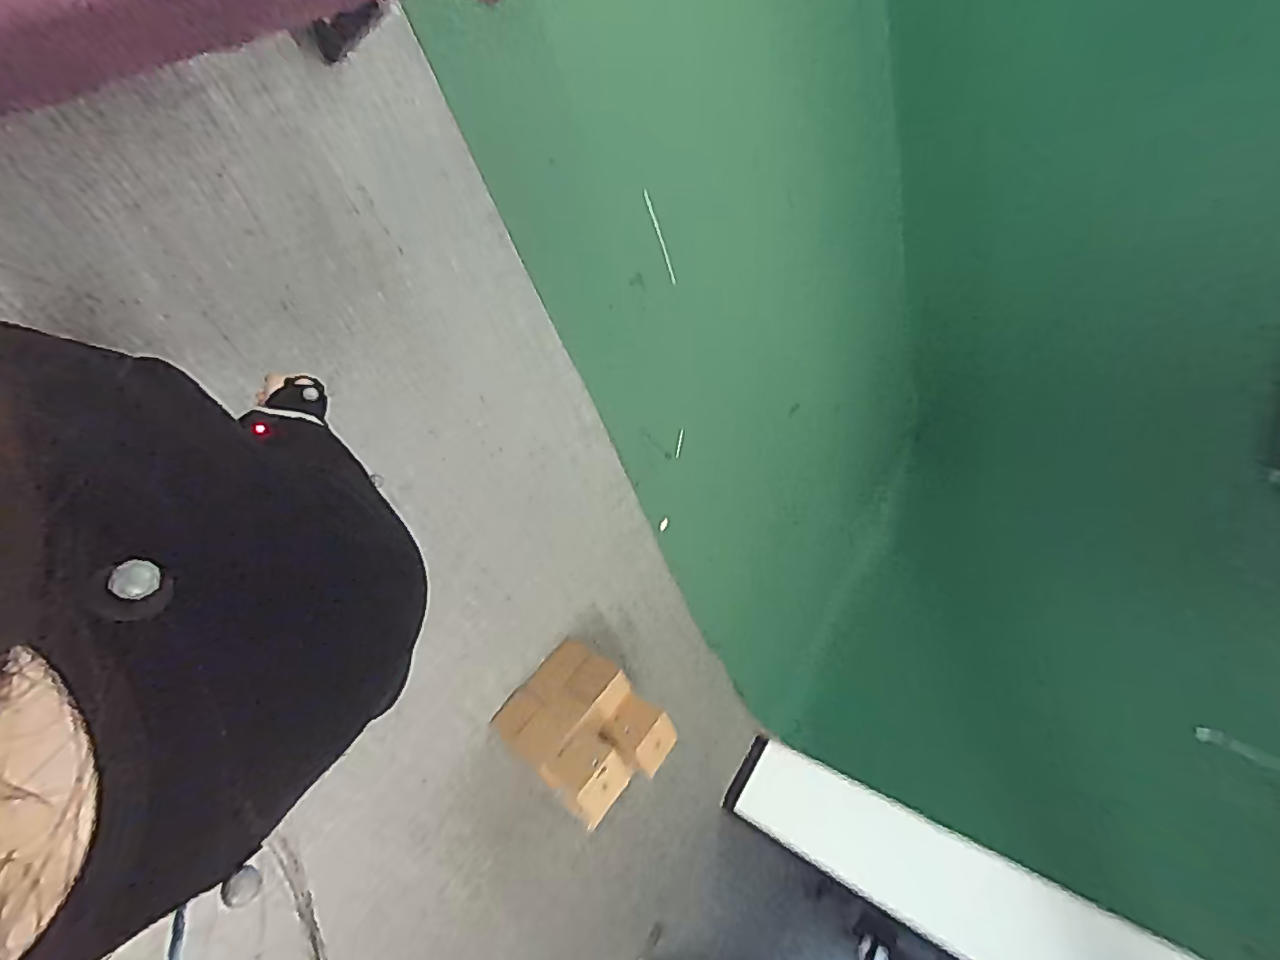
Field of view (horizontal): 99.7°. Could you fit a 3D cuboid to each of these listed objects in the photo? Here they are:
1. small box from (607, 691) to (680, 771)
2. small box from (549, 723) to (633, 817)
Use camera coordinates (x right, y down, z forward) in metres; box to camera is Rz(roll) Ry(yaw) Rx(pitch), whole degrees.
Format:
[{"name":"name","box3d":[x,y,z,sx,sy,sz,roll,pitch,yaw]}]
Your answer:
[{"name":"small box","box3d":[0.010,0.867,1.890,0.168,0.176,0.179,-44,130,-32]},{"name":"small box","box3d":[-0.156,0.911,1.714,0.168,0.176,0.179,-42,128,-33]}]
